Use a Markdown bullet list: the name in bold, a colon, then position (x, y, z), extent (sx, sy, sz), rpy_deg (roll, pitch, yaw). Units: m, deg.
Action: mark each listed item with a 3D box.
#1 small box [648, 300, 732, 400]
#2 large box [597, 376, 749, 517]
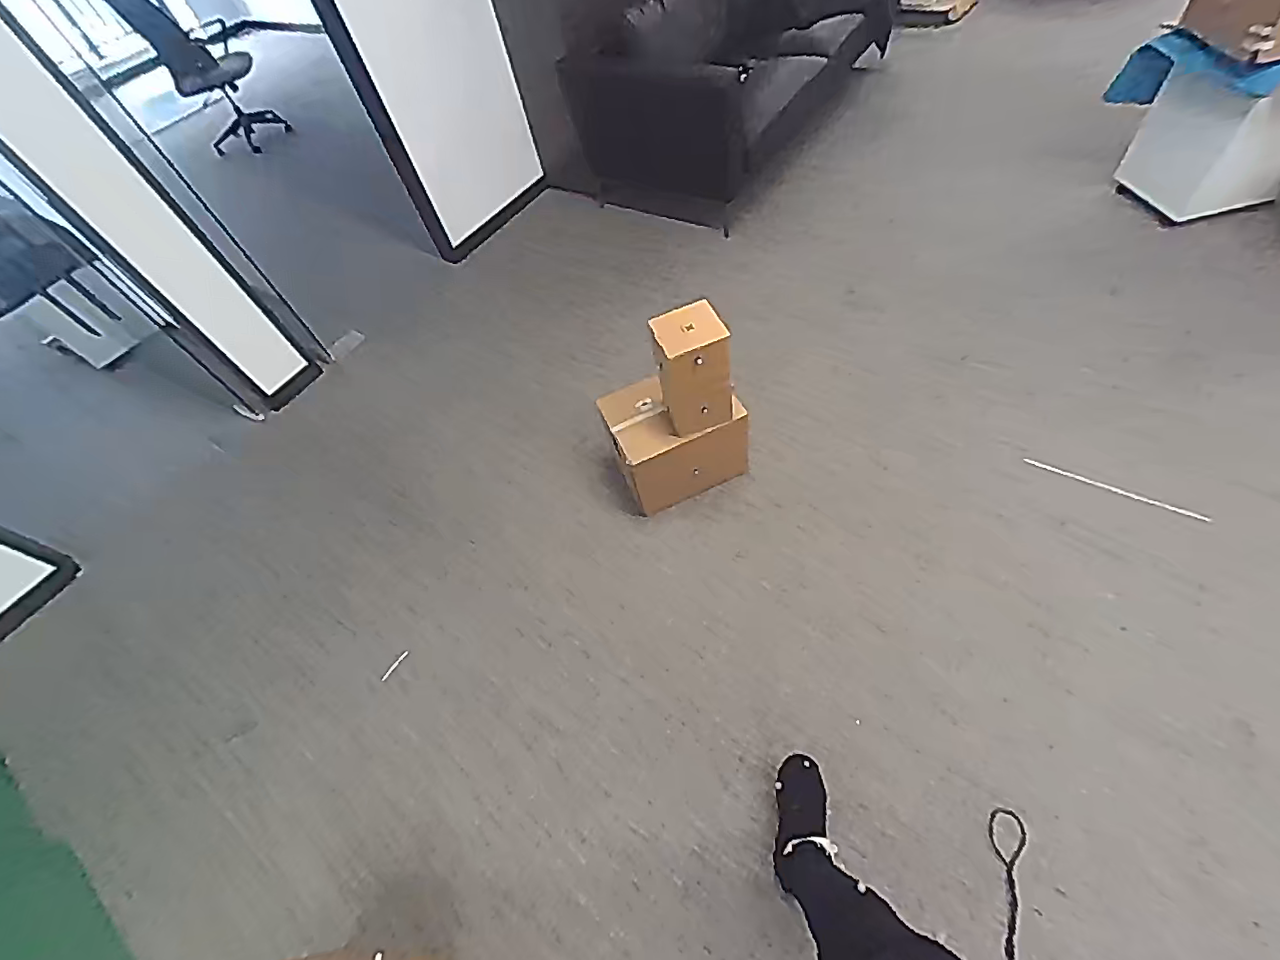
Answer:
- **small box**: position (0.139, -0.353, 1.480), extent (0.179, 0.176, 0.168), rpy_deg (-22, 56, -3)
- **large box**: position (0.120, -0.140, 1.840), extent (0.408, 0.320, 0.320), rpy_deg (-25, 54, -5)
